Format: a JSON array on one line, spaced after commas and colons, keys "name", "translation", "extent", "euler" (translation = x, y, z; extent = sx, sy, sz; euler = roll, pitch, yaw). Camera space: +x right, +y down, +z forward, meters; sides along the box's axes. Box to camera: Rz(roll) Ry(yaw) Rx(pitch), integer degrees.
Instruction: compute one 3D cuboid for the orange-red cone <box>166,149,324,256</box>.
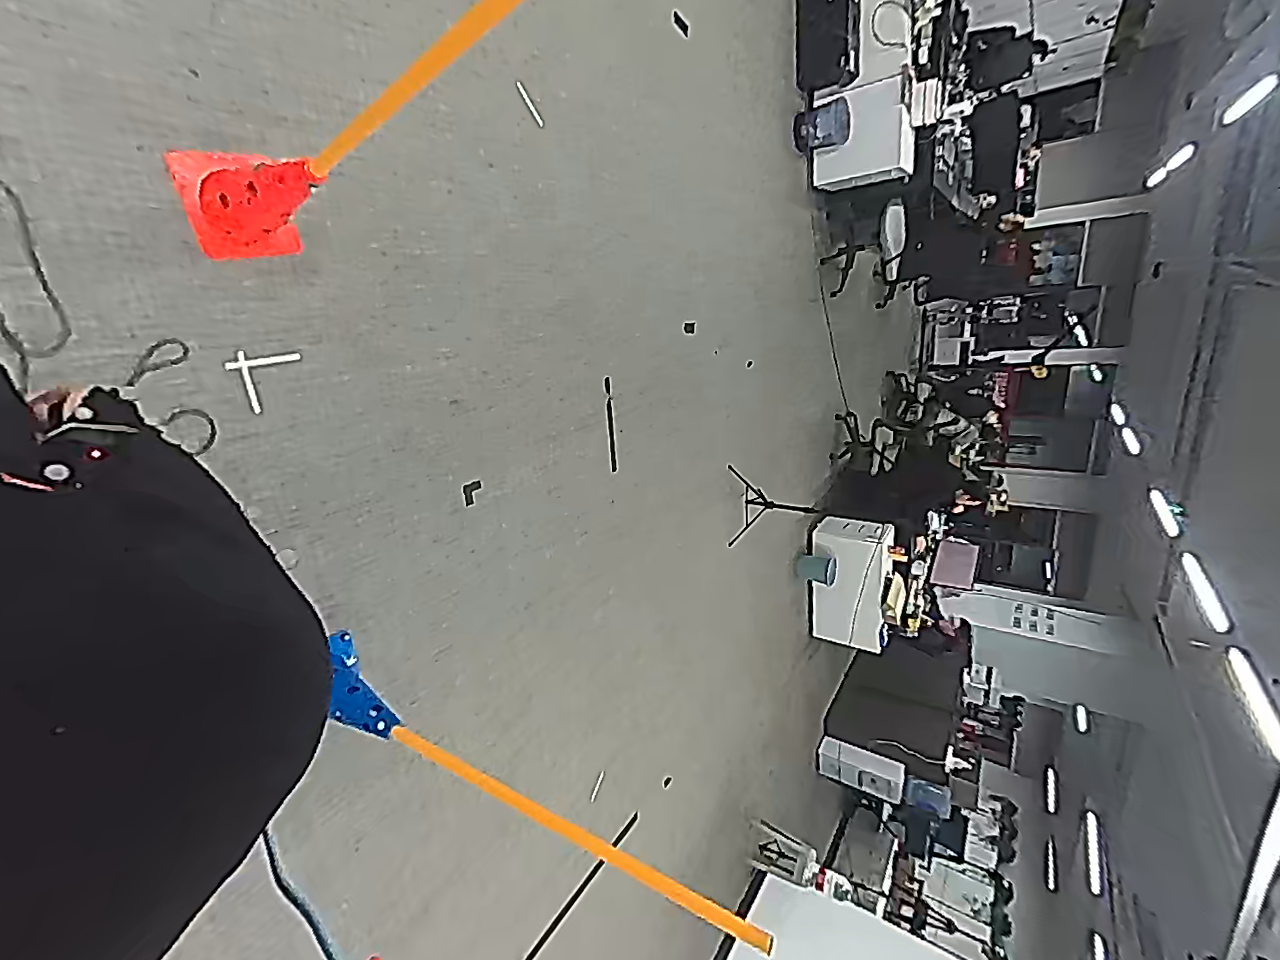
[{"name": "orange-red cone", "translation": [-0.710, -0.564, 1.039], "extent": [0.199, 0.360, 0.198], "euler": [-32, 121, -47]}]
